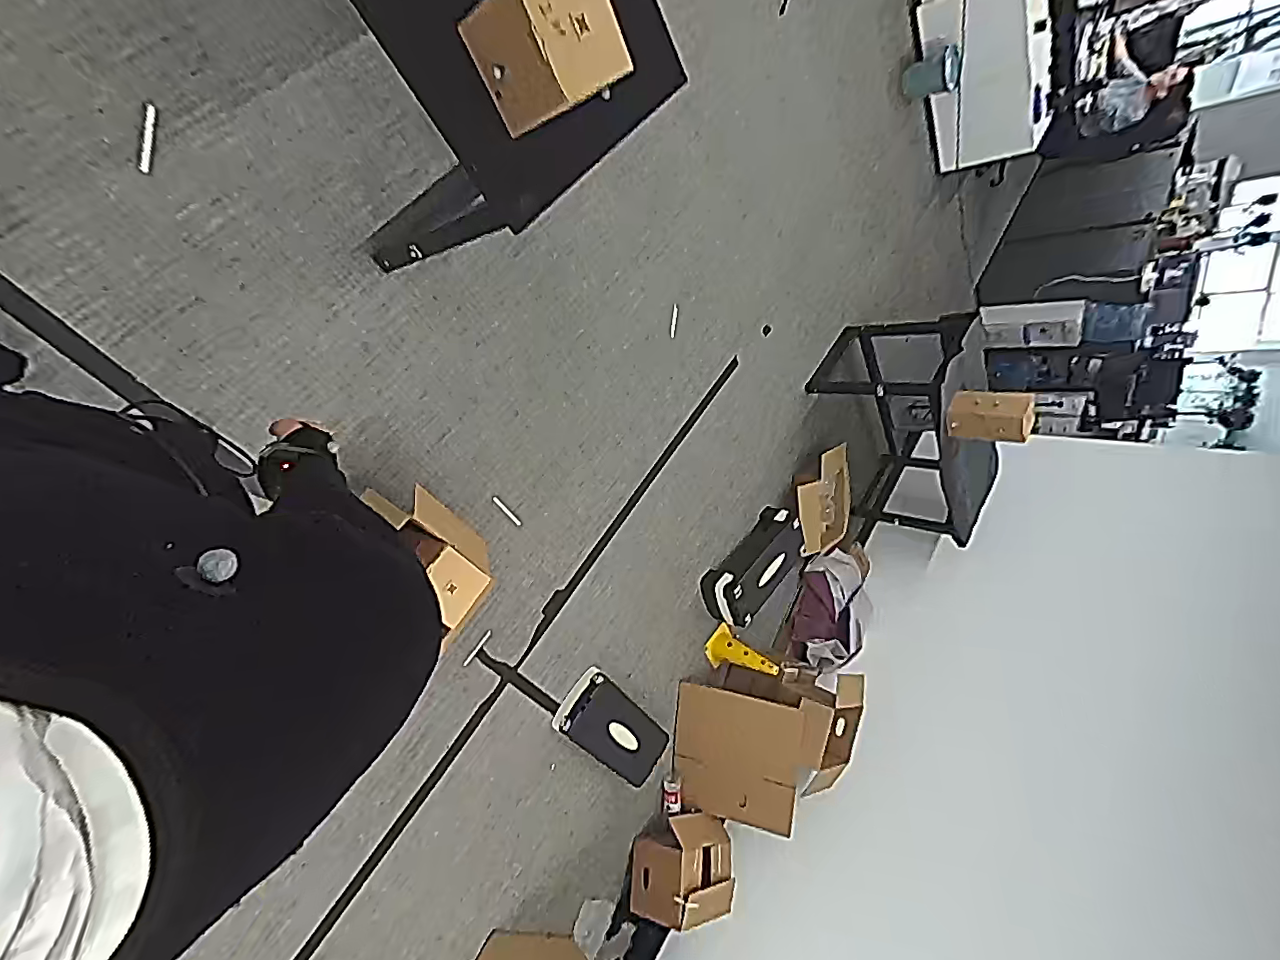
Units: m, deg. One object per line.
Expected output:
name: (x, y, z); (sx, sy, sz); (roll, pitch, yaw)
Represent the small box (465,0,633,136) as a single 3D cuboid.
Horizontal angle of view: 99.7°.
small box: (-0.148, -0.702, 0.886); (0.179, 0.176, 0.168); (-47, 126, -27)
